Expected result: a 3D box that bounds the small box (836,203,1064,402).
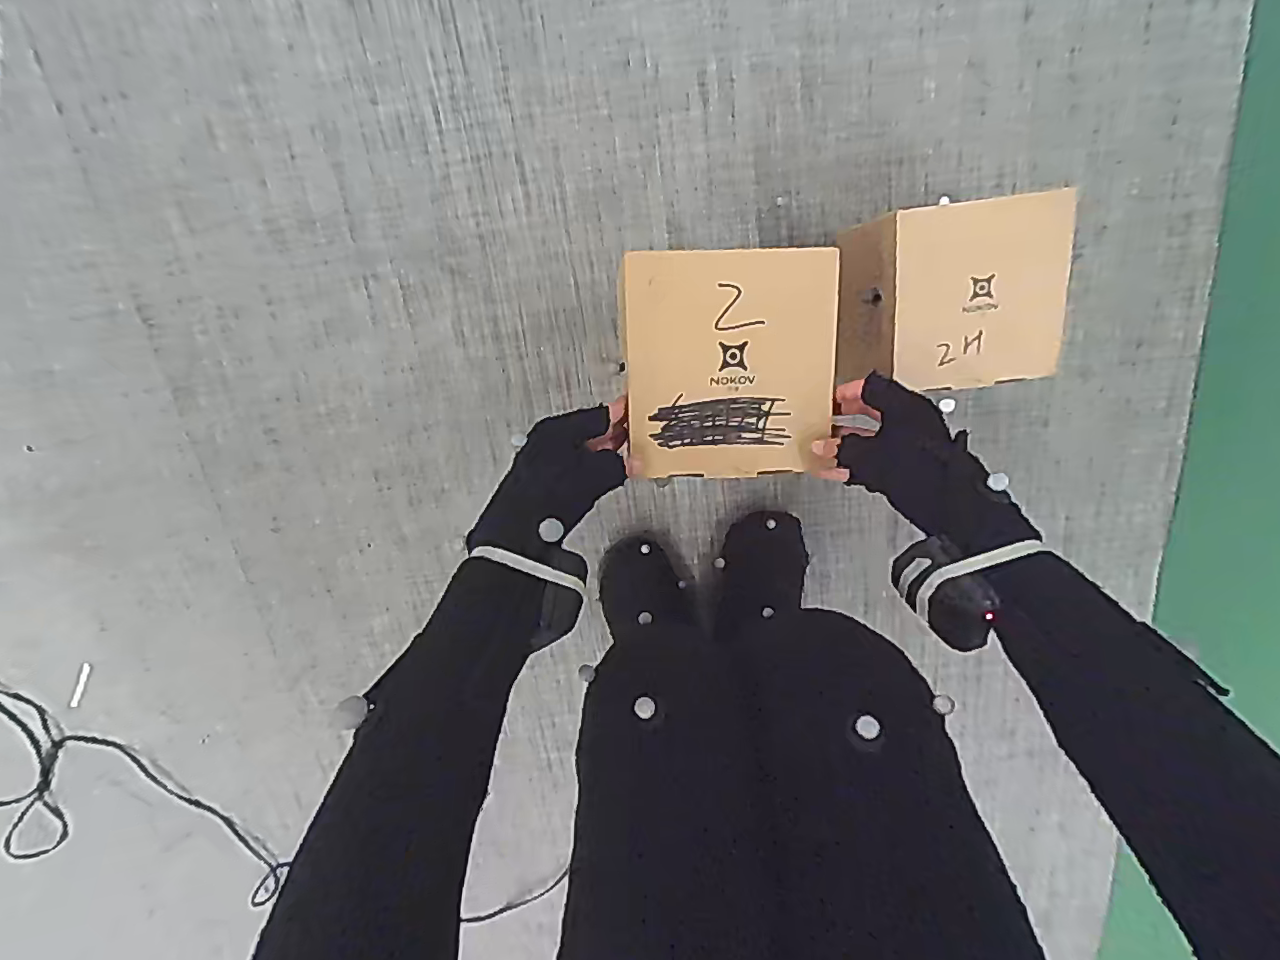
[{"bbox_3d":[0.329,-0.194,0.612,0.168,0.176,0.179,-6,107,4],"label":"small box"}]
